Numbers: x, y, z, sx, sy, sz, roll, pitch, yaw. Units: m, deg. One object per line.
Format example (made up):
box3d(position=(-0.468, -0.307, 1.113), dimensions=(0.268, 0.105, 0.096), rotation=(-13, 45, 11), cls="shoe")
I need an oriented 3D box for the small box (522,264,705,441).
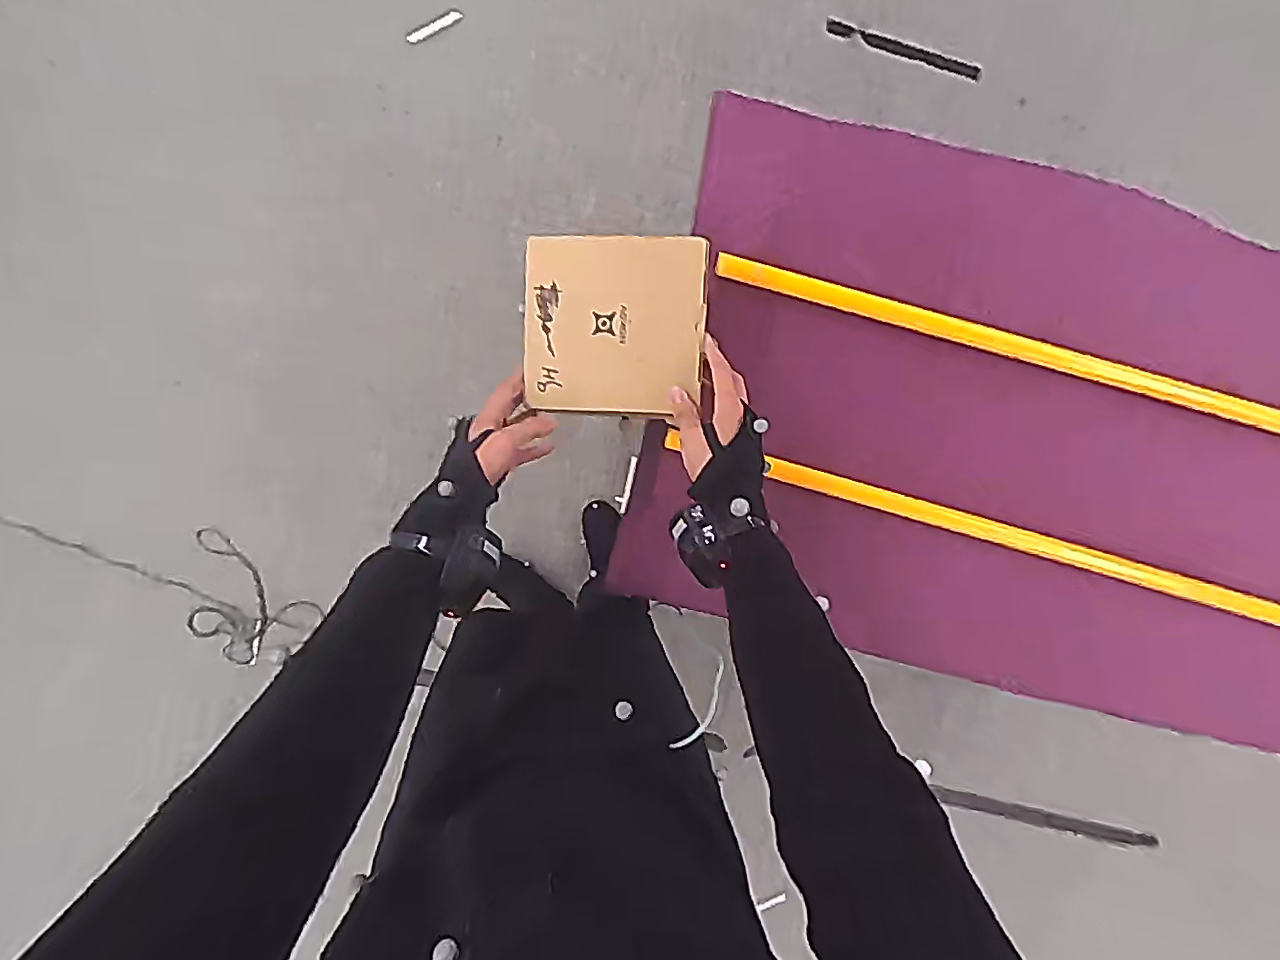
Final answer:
box3d(position=(-0.022, -0.131, 0.606), dimensions=(0.179, 0.176, 0.168), rotation=(3, 95, 5), cls="small box")
